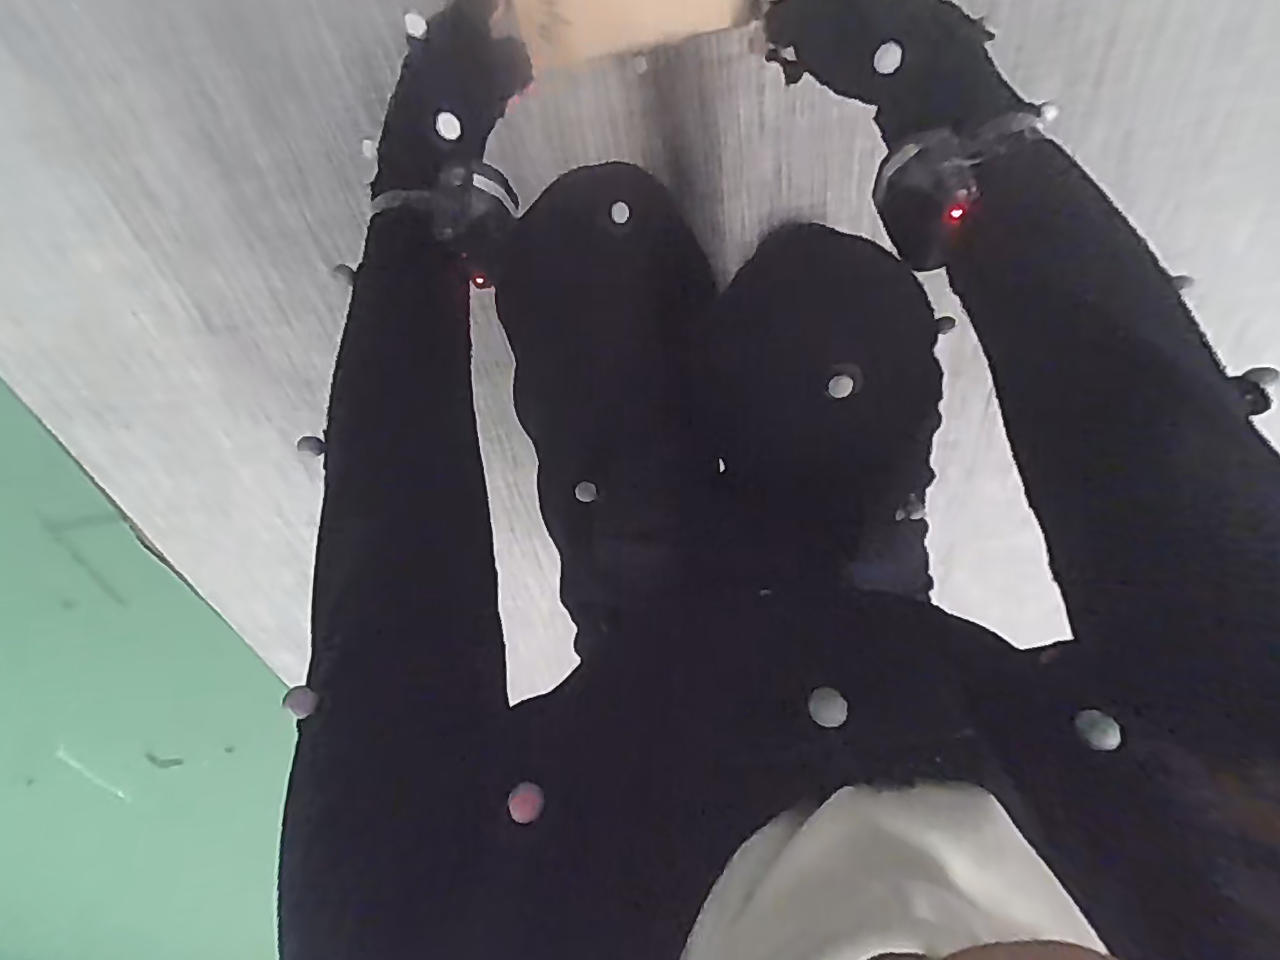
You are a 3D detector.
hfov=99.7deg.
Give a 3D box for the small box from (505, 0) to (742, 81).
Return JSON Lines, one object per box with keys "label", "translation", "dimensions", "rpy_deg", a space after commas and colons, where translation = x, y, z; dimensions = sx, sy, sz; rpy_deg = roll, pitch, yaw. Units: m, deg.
{"label": "small box", "translation": [-0.020, -0.438, 0.435], "dimensions": [0.179, 0.176, 0.168], "rpy_deg": [-7, 127, 5]}
